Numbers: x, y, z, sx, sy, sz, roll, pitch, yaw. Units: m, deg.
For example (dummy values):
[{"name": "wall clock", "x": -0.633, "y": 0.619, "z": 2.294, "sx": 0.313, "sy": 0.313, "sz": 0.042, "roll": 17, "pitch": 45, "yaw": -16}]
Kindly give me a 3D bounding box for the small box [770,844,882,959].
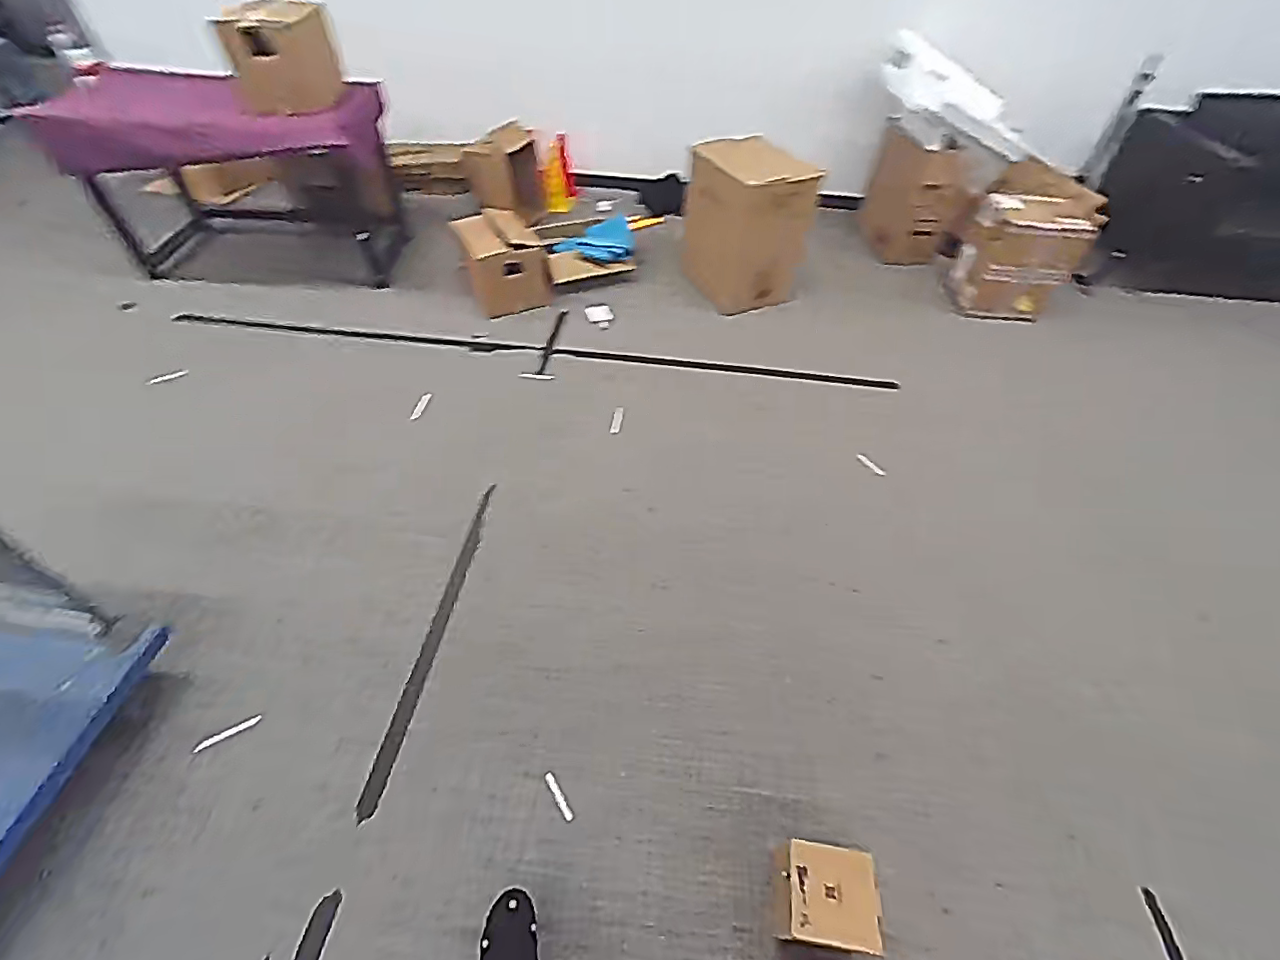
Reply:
[{"name": "small box", "x": 0.385, "y": 0.897, "z": 1.144, "sx": 0.179, "sy": 0.176, "sz": 0.168, "roll": 10, "pitch": 48, "yaw": 5}]
